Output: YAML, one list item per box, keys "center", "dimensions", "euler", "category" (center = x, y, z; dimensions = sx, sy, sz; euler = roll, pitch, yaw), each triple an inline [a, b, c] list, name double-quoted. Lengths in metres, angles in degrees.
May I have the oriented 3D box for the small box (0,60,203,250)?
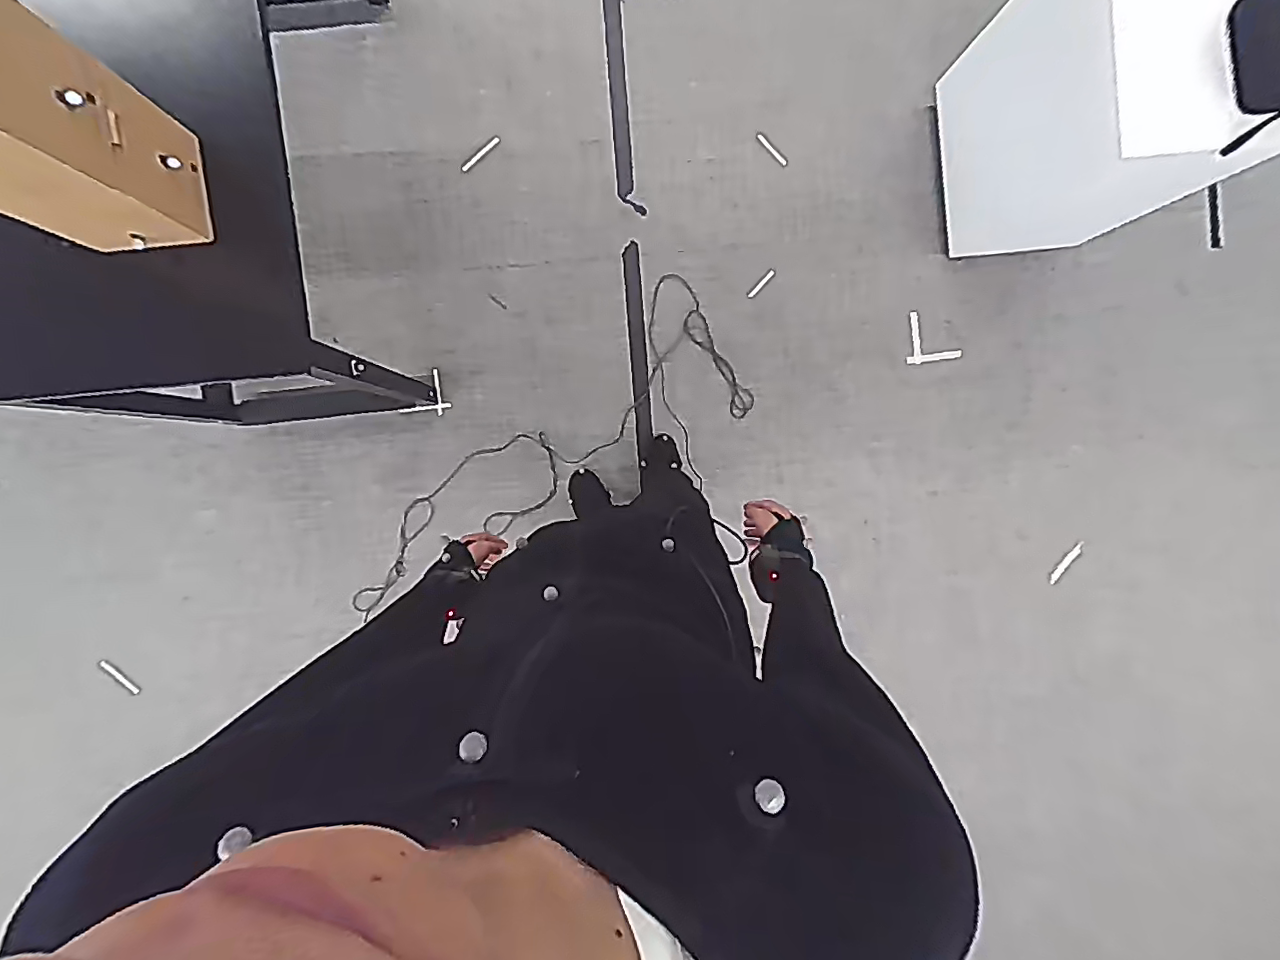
- center: [-0.760, -0.442, 0.759]
  dimensions: [0.179, 0.176, 0.168]
  euler: [-8, 93, -3]
  category: "small box"

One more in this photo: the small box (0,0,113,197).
- center: [-0.753, -0.434, 0.594]
  dimensions: [0.179, 0.176, 0.168]
  euler: [-7, 94, -3]
  category: "small box"
